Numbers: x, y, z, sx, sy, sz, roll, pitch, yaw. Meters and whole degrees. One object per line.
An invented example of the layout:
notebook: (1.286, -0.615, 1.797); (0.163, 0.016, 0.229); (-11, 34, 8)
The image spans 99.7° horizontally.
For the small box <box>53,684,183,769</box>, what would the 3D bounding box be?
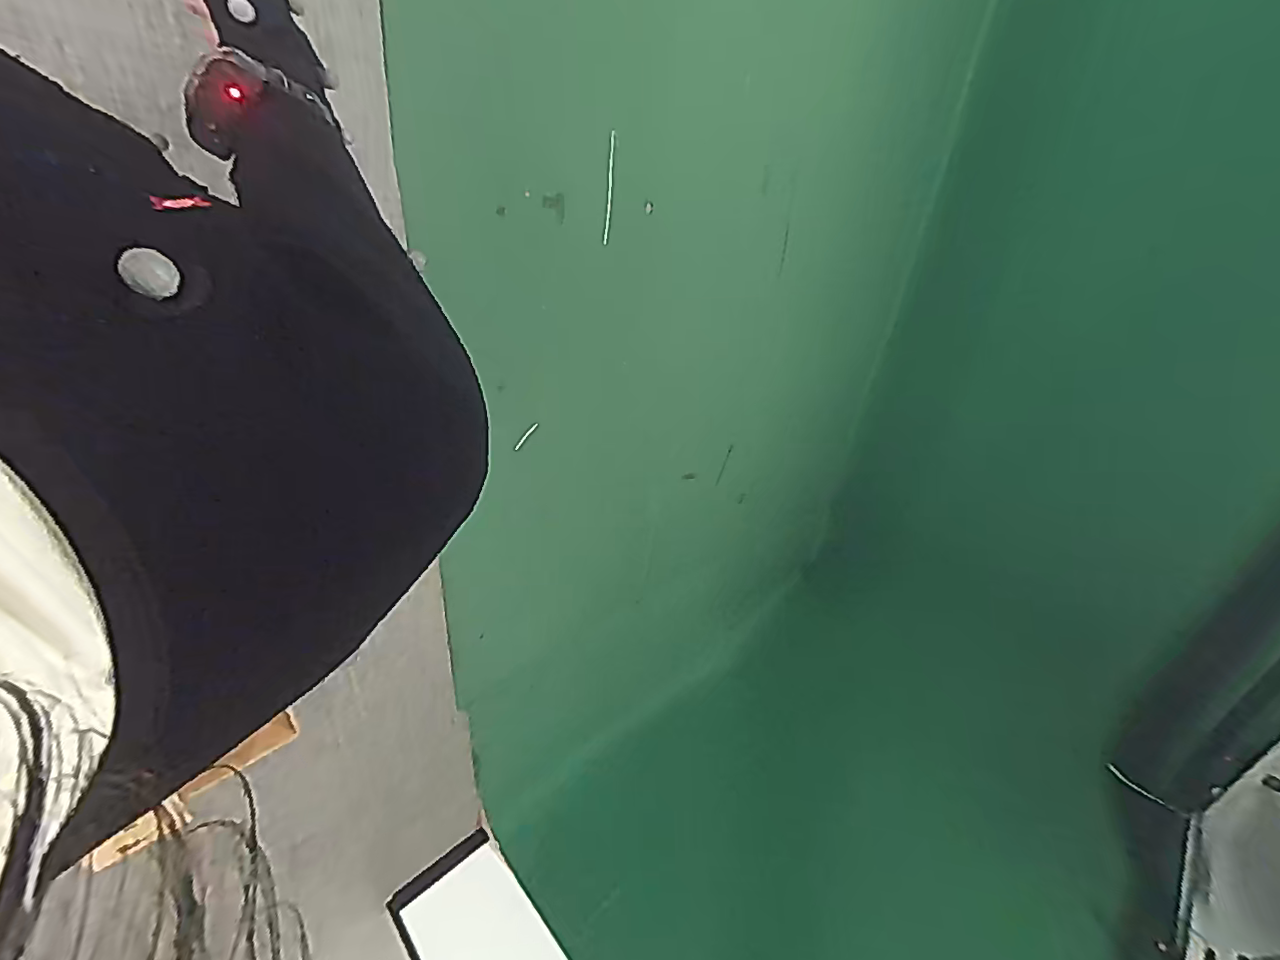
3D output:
small box: (-1.196, 0.602, 1.241); (0.168, 0.176, 0.179); (-24, 133, -37)

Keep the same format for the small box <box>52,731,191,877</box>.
small box: (-1.088, 0.665, 1.136); (0.168, 0.176, 0.179); (-22, 130, -39)
